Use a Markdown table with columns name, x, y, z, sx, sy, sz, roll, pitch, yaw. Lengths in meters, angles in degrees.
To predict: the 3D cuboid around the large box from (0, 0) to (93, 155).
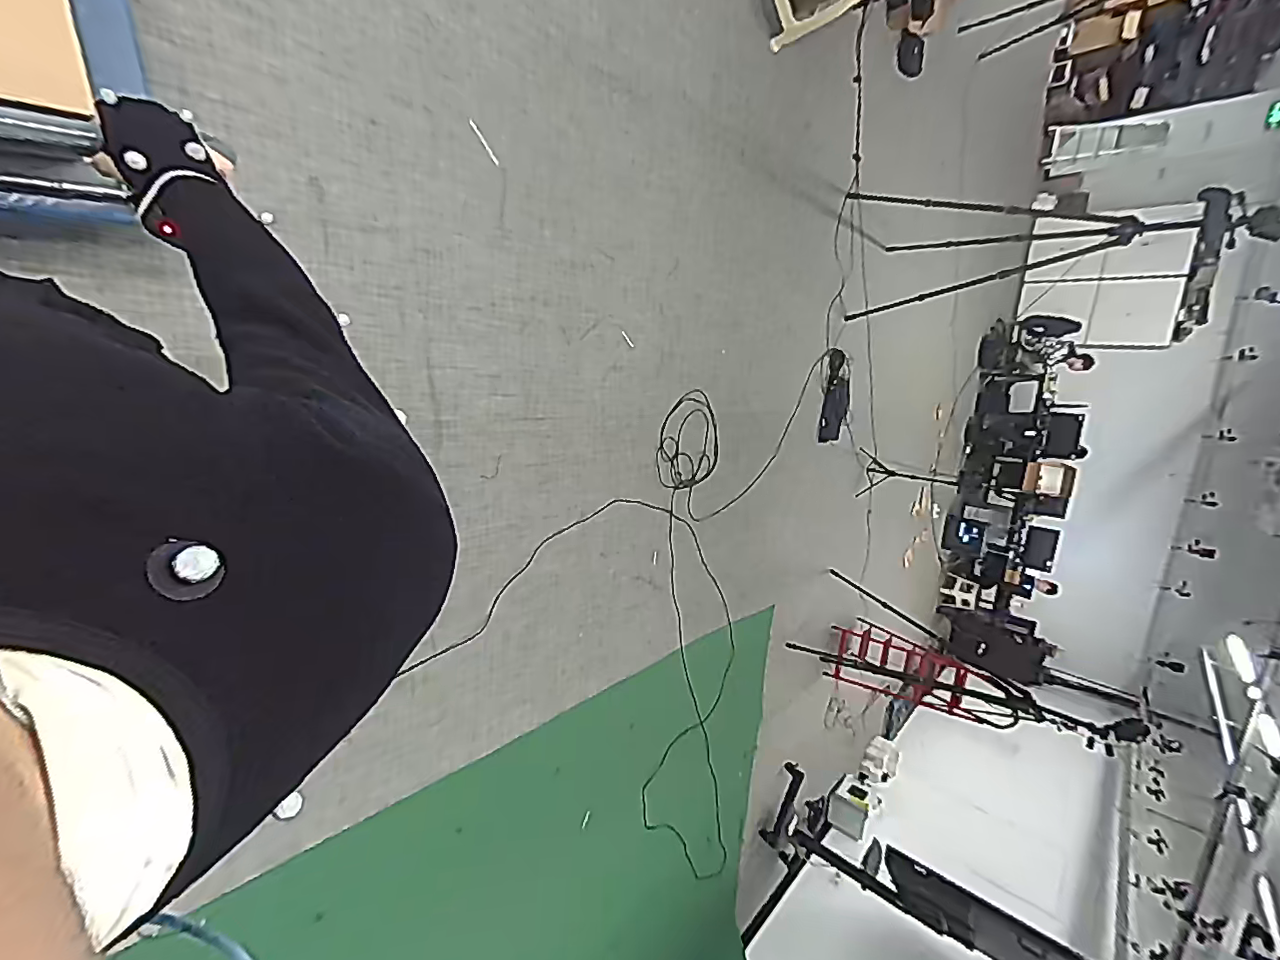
| name | x | y | z | sx | sy | sz | roll | pitch | yaw |
| --- | --- | --- | --- | --- | --- | --- | --- | --- | --- |
| large box | -1.015 | -0.715 | 0.726 | 0.320 | 0.320 | 0.408 | -18 | 113 | -45 |
